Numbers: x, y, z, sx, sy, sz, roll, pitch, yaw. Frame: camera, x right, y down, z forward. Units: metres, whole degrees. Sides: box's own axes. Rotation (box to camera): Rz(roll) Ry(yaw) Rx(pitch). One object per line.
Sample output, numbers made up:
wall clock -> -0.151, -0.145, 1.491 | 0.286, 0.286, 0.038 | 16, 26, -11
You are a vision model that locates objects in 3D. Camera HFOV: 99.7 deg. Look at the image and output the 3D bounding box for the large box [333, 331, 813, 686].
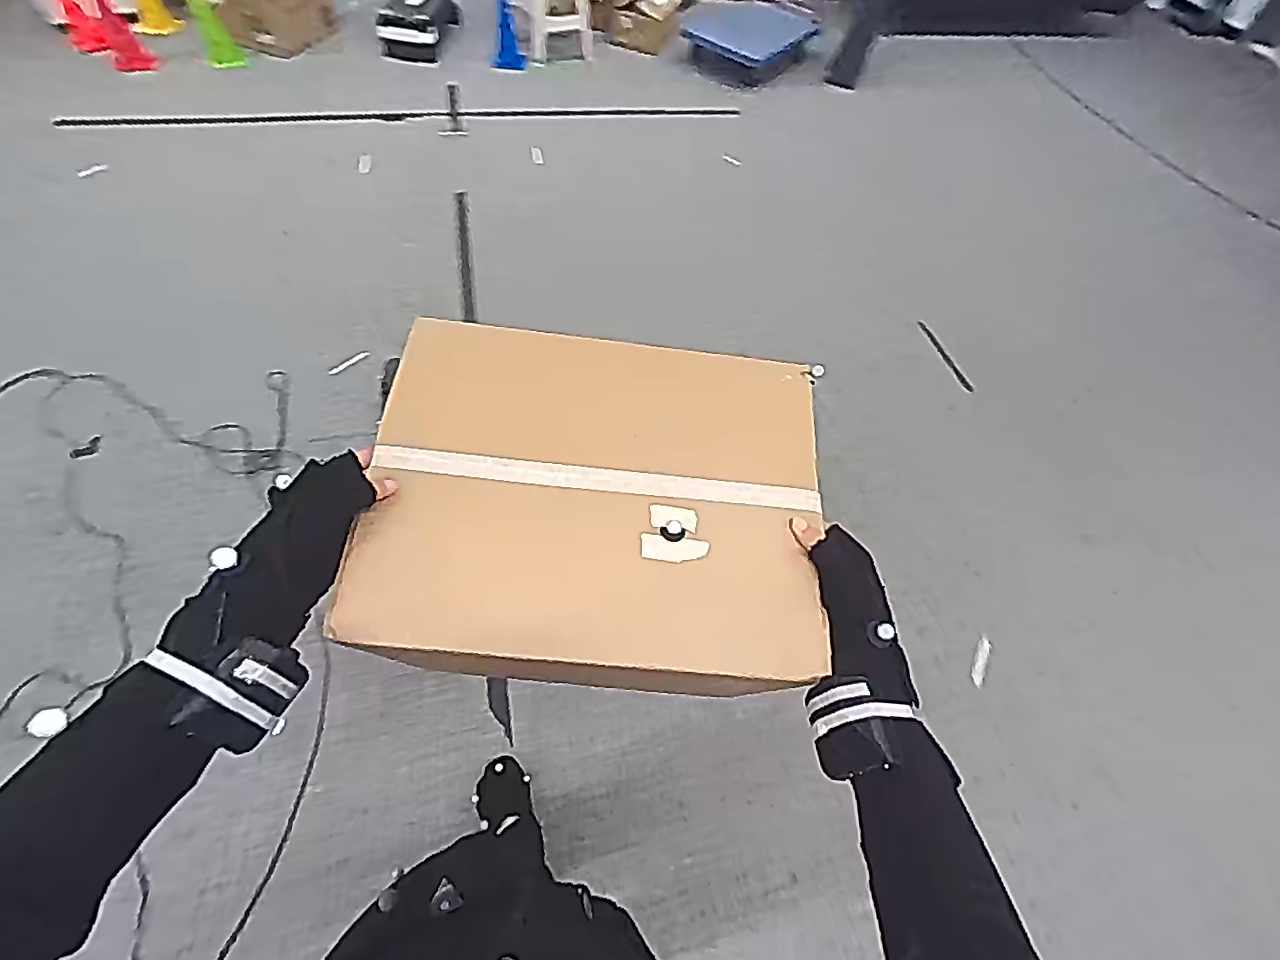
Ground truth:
large box -> -0.060, 0.062, 0.639 | 0.408, 0.320, 0.320 | 6, 66, -4
